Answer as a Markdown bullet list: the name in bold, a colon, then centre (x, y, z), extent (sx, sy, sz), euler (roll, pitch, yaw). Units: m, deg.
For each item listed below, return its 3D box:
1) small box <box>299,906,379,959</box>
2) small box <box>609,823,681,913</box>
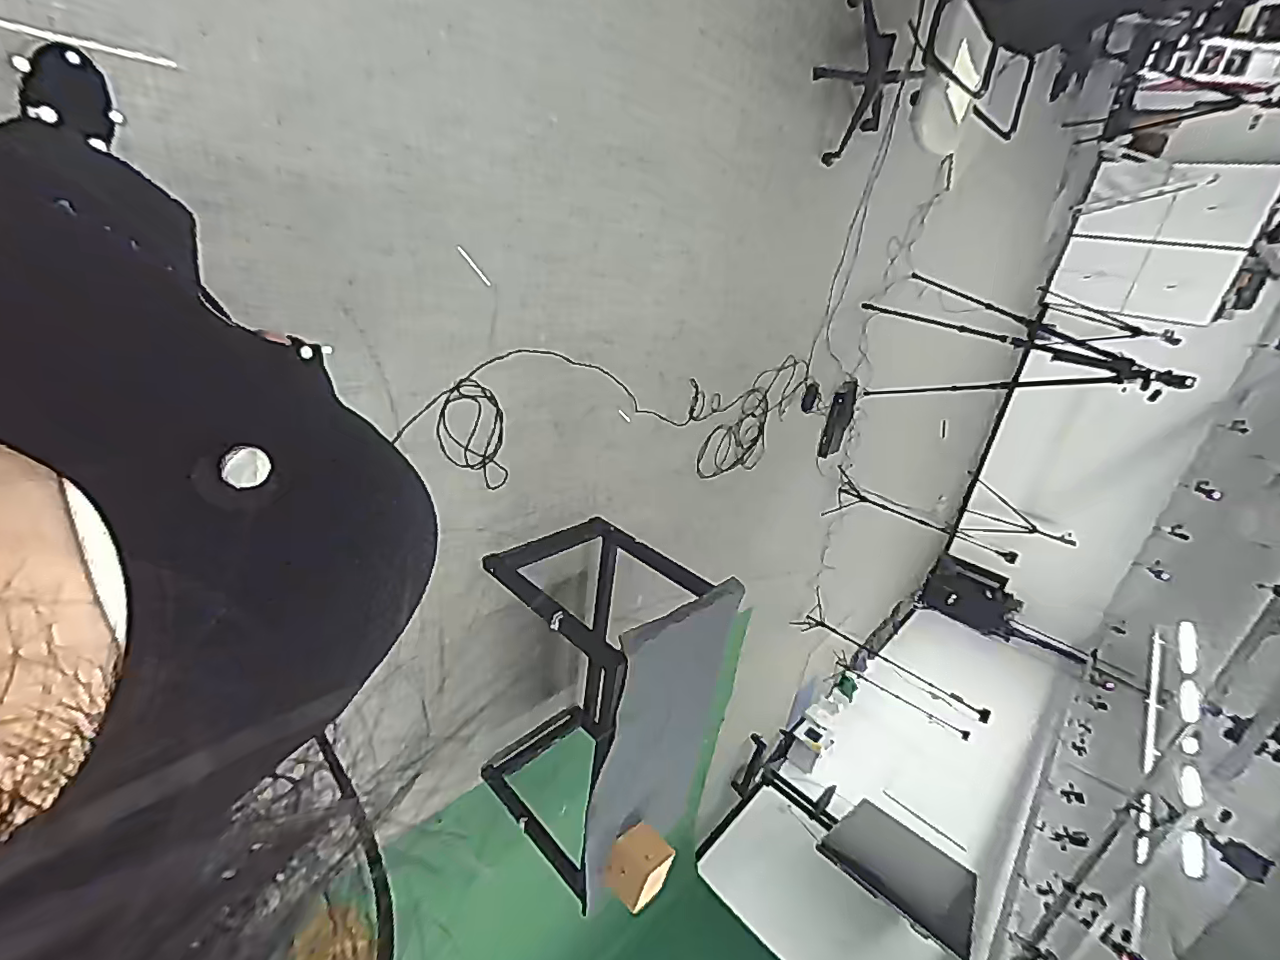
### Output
- **small box**: centre (-1.136, 1.750, 2.033), extent (0.168, 0.176, 0.179), euler (-54, 142, -13)
- **small box**: centre (0.014, 1.406, 1.973), extent (0.179, 0.176, 0.168), euler (10, 103, -54)
